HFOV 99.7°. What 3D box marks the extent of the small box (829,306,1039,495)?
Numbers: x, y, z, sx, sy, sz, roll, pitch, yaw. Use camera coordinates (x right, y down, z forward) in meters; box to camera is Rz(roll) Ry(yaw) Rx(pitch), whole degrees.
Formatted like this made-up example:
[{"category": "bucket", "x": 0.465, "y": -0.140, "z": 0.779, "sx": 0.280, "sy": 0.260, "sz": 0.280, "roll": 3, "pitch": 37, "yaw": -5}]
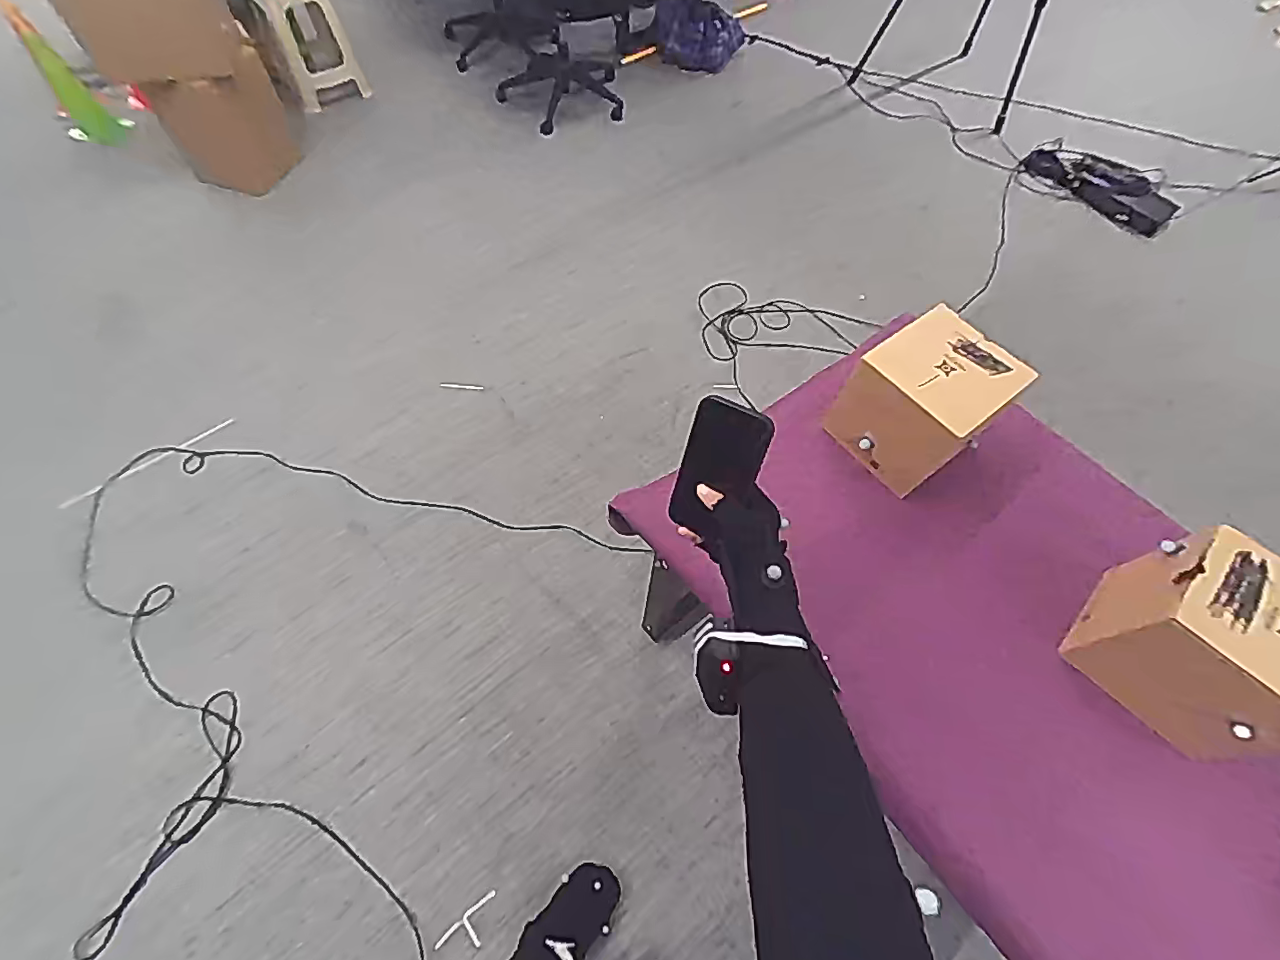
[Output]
[{"category": "small box", "x": 0.410, "y": -0.110, "z": 0.787, "sx": 0.179, "sy": 0.176, "sz": 0.168, "roll": -33, "pitch": 67, "yaw": -18}]
